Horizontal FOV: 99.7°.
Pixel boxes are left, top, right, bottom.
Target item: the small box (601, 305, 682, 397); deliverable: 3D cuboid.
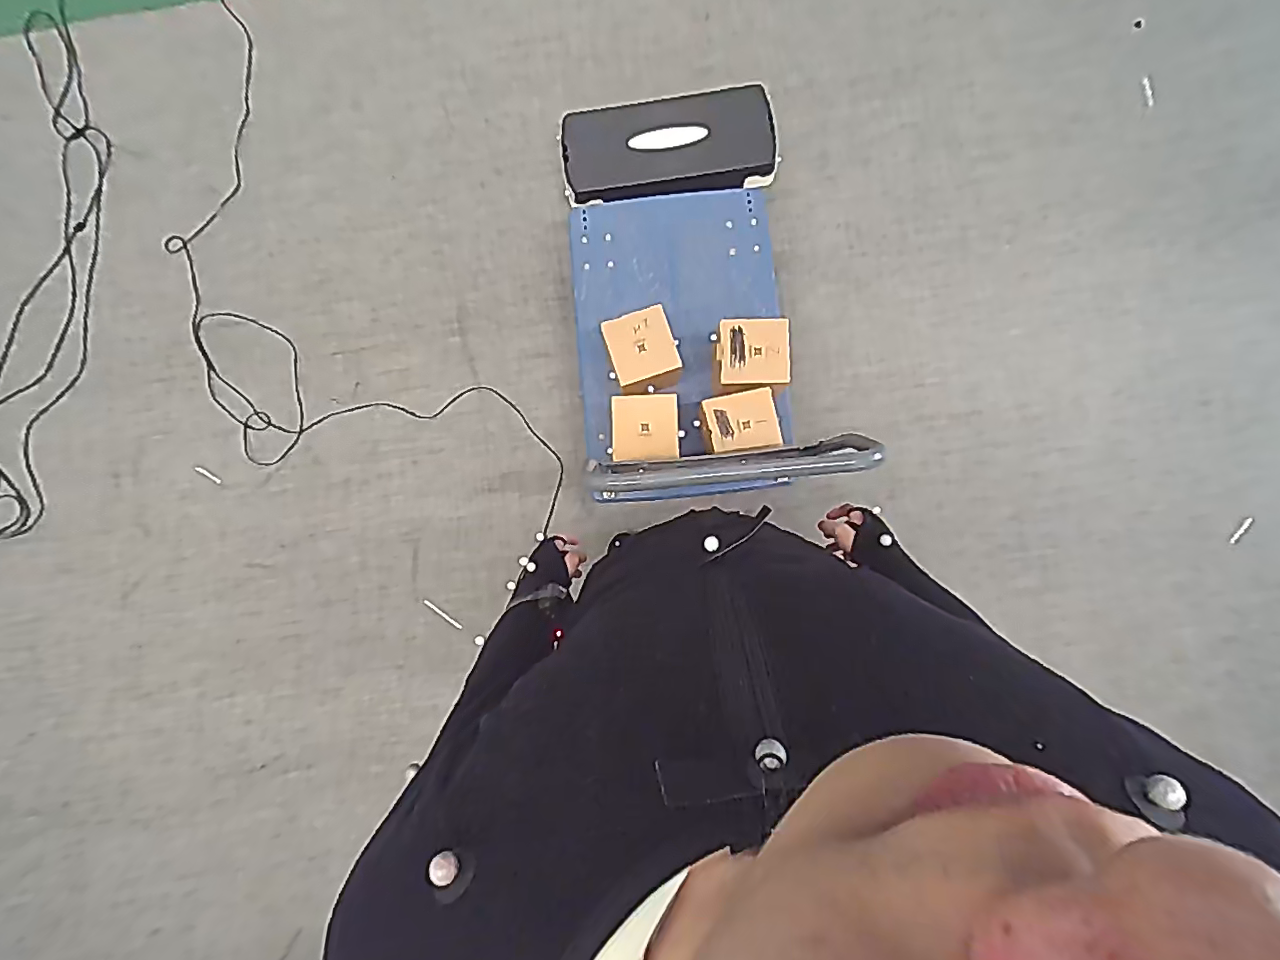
[{"bbox_3d":[0.006,-0.330,1.433,0.168,0.176,0.179,-18,85,-1],"label":"small box"}]
